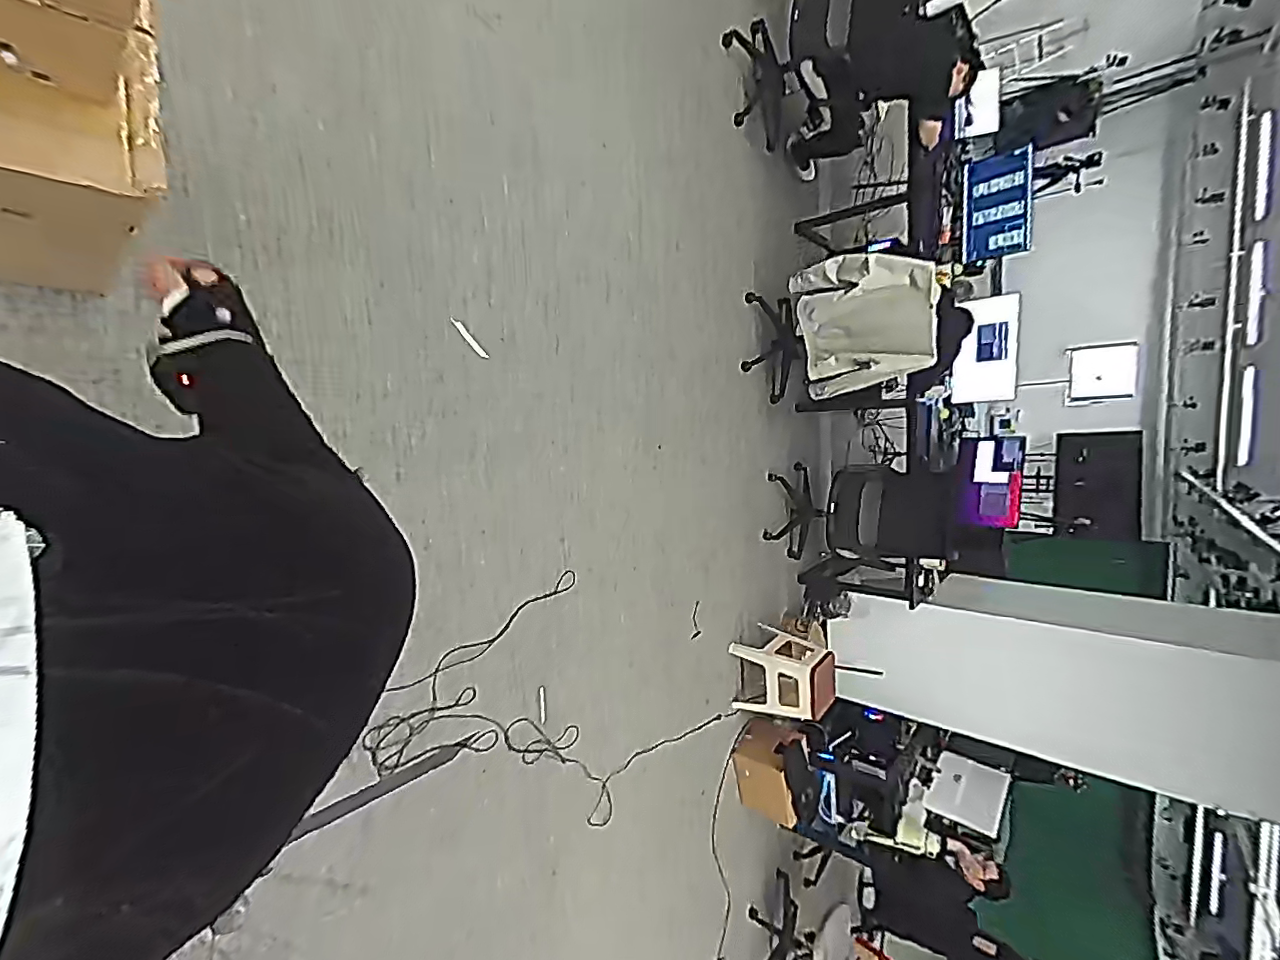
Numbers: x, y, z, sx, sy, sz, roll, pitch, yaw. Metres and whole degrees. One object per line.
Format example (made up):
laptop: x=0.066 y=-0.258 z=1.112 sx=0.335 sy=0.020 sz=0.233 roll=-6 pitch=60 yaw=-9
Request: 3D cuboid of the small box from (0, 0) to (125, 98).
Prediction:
small box: x=-0.633 y=-0.529 z=0.528 sx=0.168 sy=0.176 sz=0.179 roll=-7 pitch=97 yaw=-48
